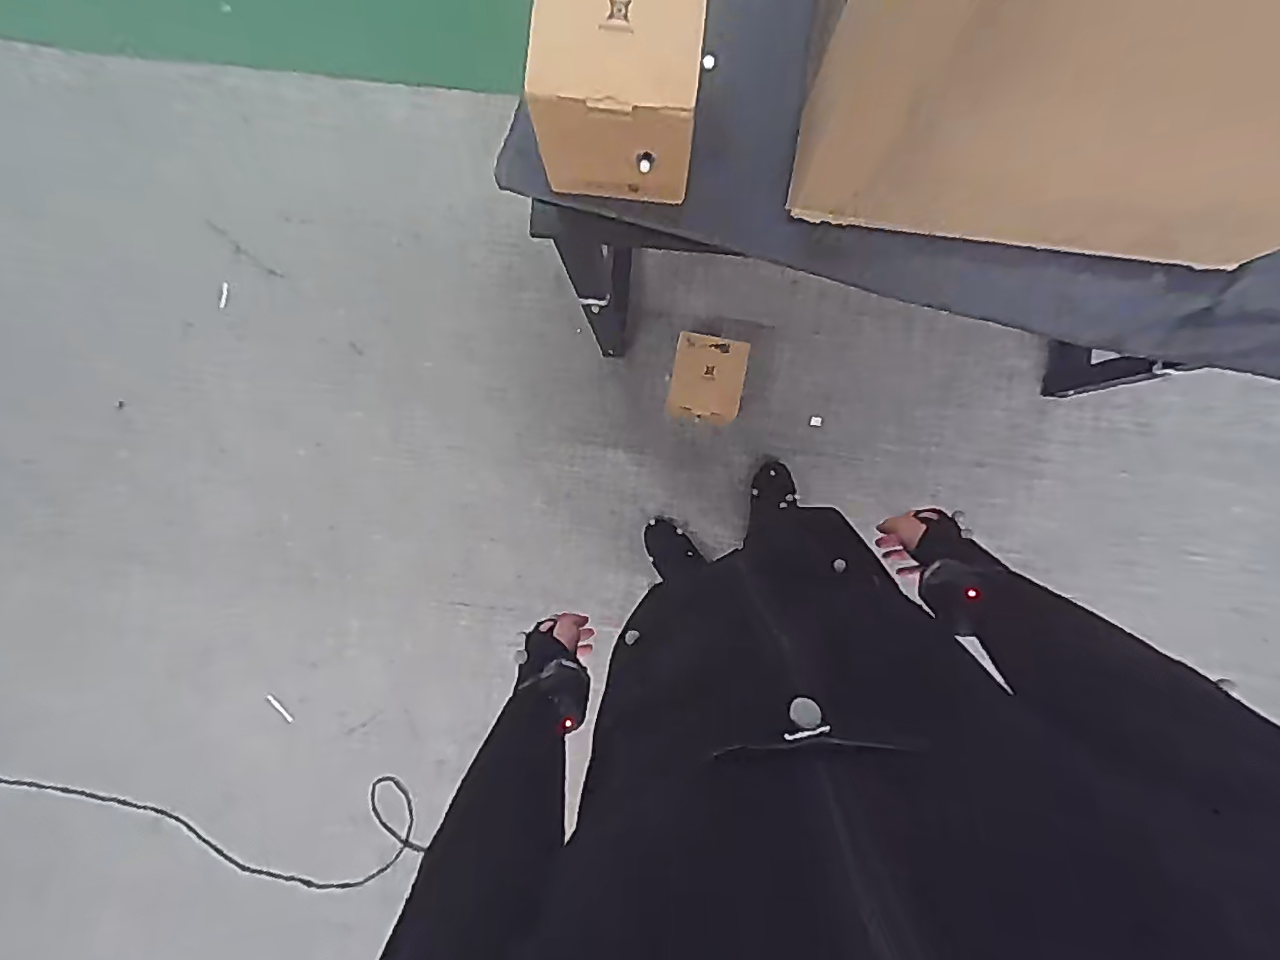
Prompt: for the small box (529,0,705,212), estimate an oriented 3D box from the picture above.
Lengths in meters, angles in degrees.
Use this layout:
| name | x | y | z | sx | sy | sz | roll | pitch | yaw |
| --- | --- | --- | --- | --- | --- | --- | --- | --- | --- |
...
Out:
| name | x | y | z | sx | sy | sz | roll | pitch | yaw |
| --- | --- | --- | --- | --- | --- | --- | --- | --- | --- |
| small box | -0.021 | -0.432 | 0.612 | 0.168 | 0.176 | 0.179 | 5 | 86 | -1 |
